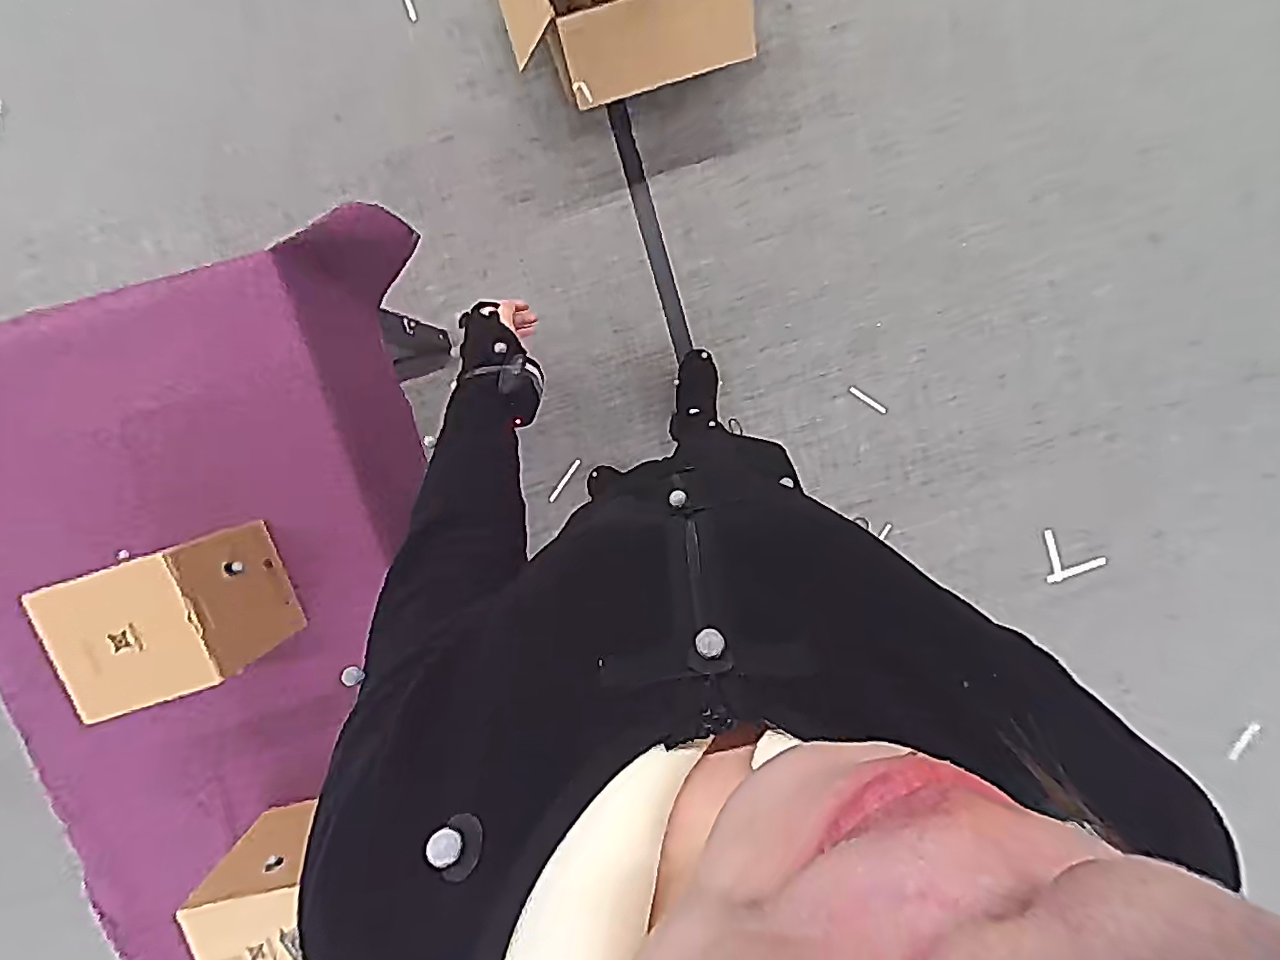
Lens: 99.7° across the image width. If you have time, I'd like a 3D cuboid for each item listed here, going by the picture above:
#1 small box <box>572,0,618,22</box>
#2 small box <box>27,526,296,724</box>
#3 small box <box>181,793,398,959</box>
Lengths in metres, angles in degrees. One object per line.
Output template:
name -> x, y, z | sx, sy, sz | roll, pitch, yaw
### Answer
small box -> -0.089, -1.079, 1.071 | 0.179, 0.176, 0.168 | -39, 101, 1
small box -> -0.582, 0.171, 0.693 | 0.179, 0.176, 0.168 | -17, 98, 2
small box -> -0.462, 0.573, 0.752 | 0.179, 0.176, 0.168 | -14, 98, 2
